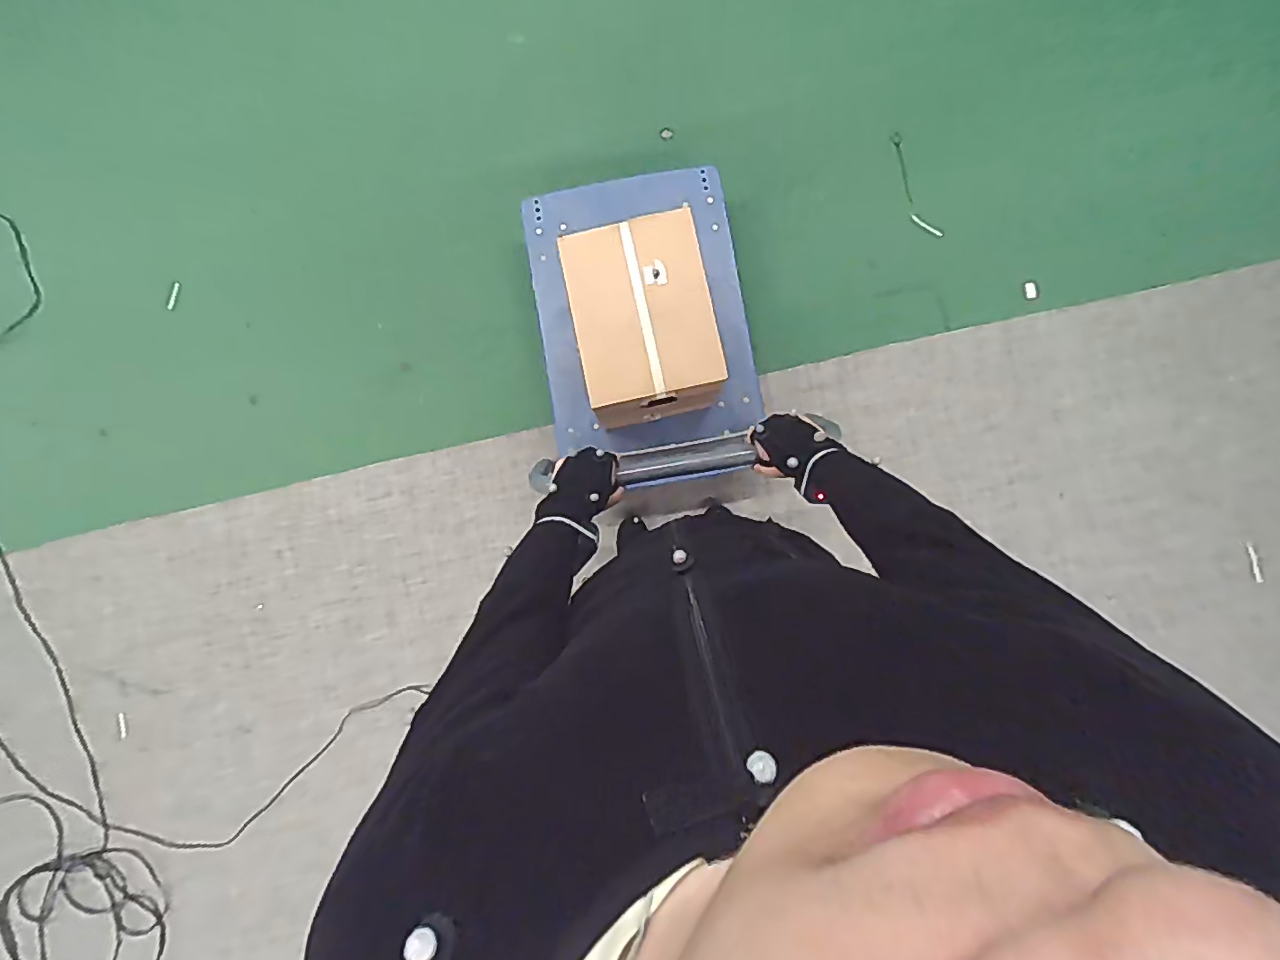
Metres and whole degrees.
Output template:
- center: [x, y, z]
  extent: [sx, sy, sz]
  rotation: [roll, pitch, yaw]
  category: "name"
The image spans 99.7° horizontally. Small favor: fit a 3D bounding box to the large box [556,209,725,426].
- center: [0.007, -0.382, 1.363]
  extent: [0.320, 0.320, 0.408]
  rotation: [-12, 86, 1]
  category: "large box"
